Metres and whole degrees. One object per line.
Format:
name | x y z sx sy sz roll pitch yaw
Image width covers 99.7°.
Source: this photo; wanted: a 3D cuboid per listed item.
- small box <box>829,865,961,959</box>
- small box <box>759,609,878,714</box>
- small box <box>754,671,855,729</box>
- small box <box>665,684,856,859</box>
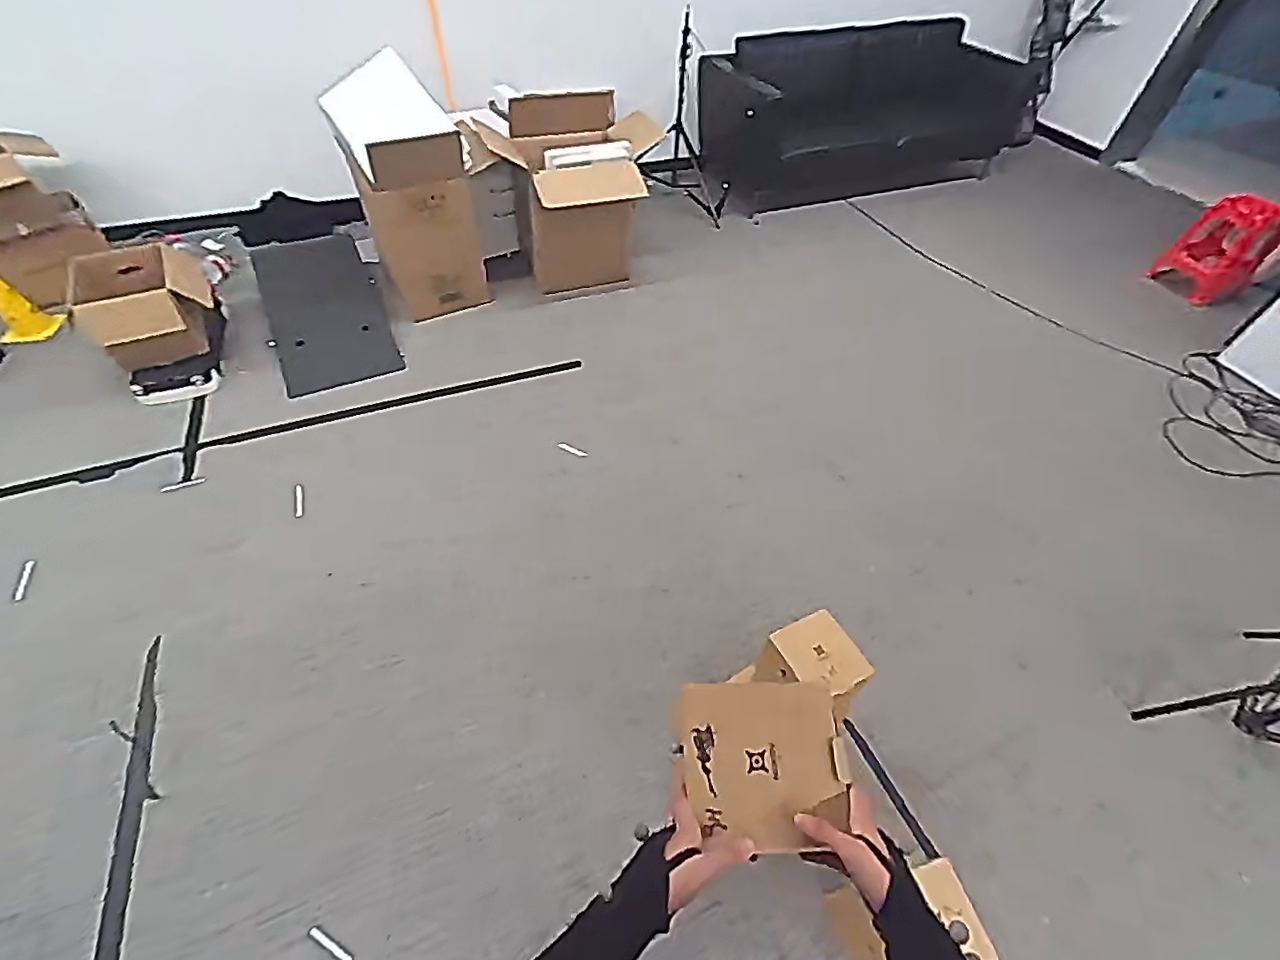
small box | 0.551 0.995 1.198 0.168 0.176 0.179 -15 53 -16
small box | 0.395 0.434 1.236 0.168 0.176 0.179 -19 52 -19
small box | 0.393 0.552 1.351 0.179 0.176 0.168 -13 51 -14
small box | 0.126 0.343 0.645 0.179 0.176 0.168 0 59 -2
